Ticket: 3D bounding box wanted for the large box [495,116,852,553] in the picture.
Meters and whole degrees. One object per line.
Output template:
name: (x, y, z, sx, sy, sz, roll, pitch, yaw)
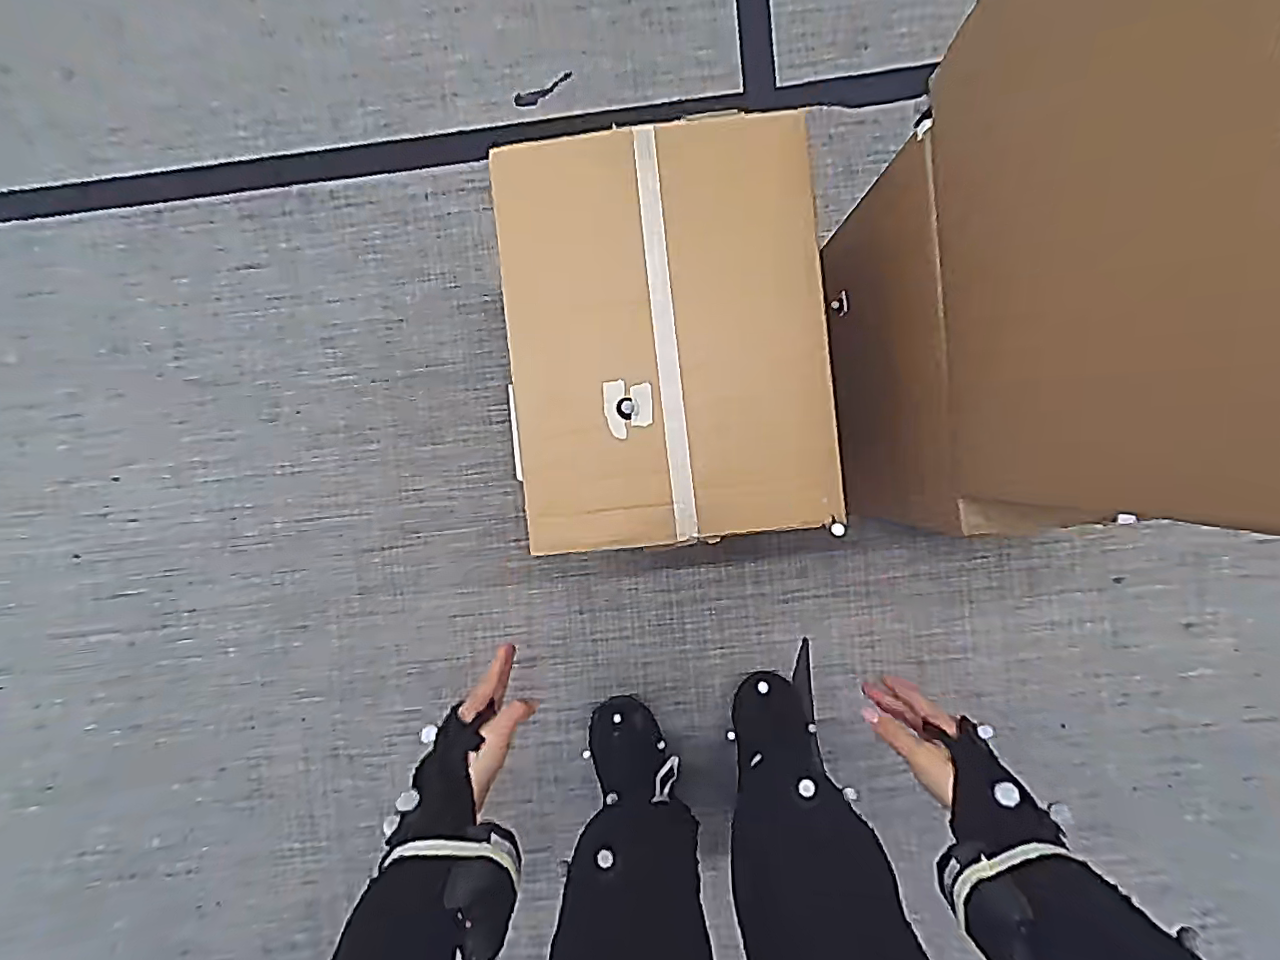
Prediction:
large box: (0.035, -0.145, 0.681, 0.320, 0.320, 0.408, -7, 91, 2)
